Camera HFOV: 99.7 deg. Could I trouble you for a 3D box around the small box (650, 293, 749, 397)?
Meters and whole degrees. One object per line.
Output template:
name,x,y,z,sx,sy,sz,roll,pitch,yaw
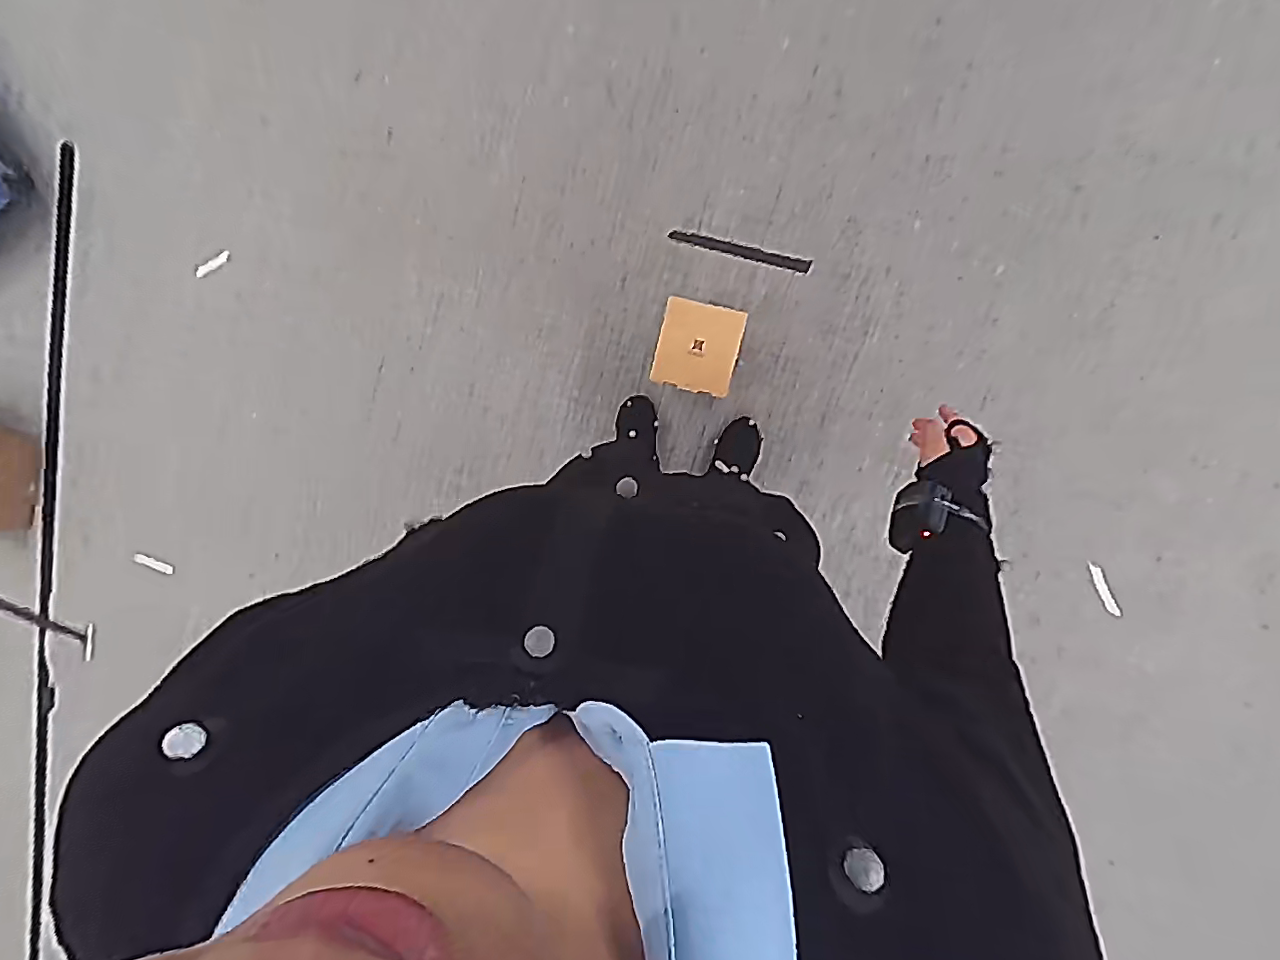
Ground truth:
small box,0.130,-0.287,1.171,0.168,0.176,0.179,15,103,6
